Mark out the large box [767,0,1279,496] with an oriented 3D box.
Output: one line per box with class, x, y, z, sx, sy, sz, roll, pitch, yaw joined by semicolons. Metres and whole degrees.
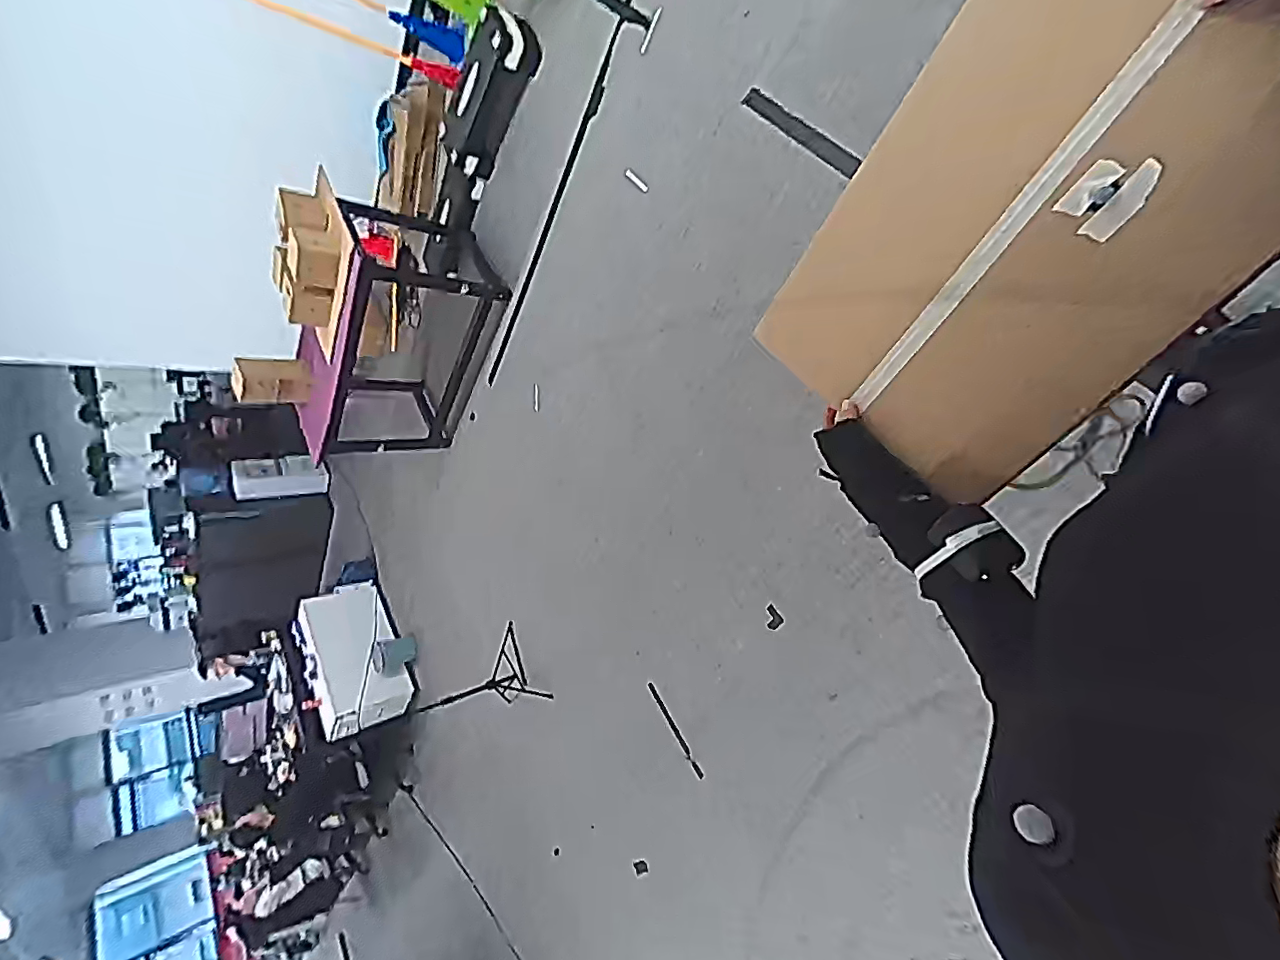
large box;0.428;-0.245;0.607;0.320;0.320;0.408;50;129;24
